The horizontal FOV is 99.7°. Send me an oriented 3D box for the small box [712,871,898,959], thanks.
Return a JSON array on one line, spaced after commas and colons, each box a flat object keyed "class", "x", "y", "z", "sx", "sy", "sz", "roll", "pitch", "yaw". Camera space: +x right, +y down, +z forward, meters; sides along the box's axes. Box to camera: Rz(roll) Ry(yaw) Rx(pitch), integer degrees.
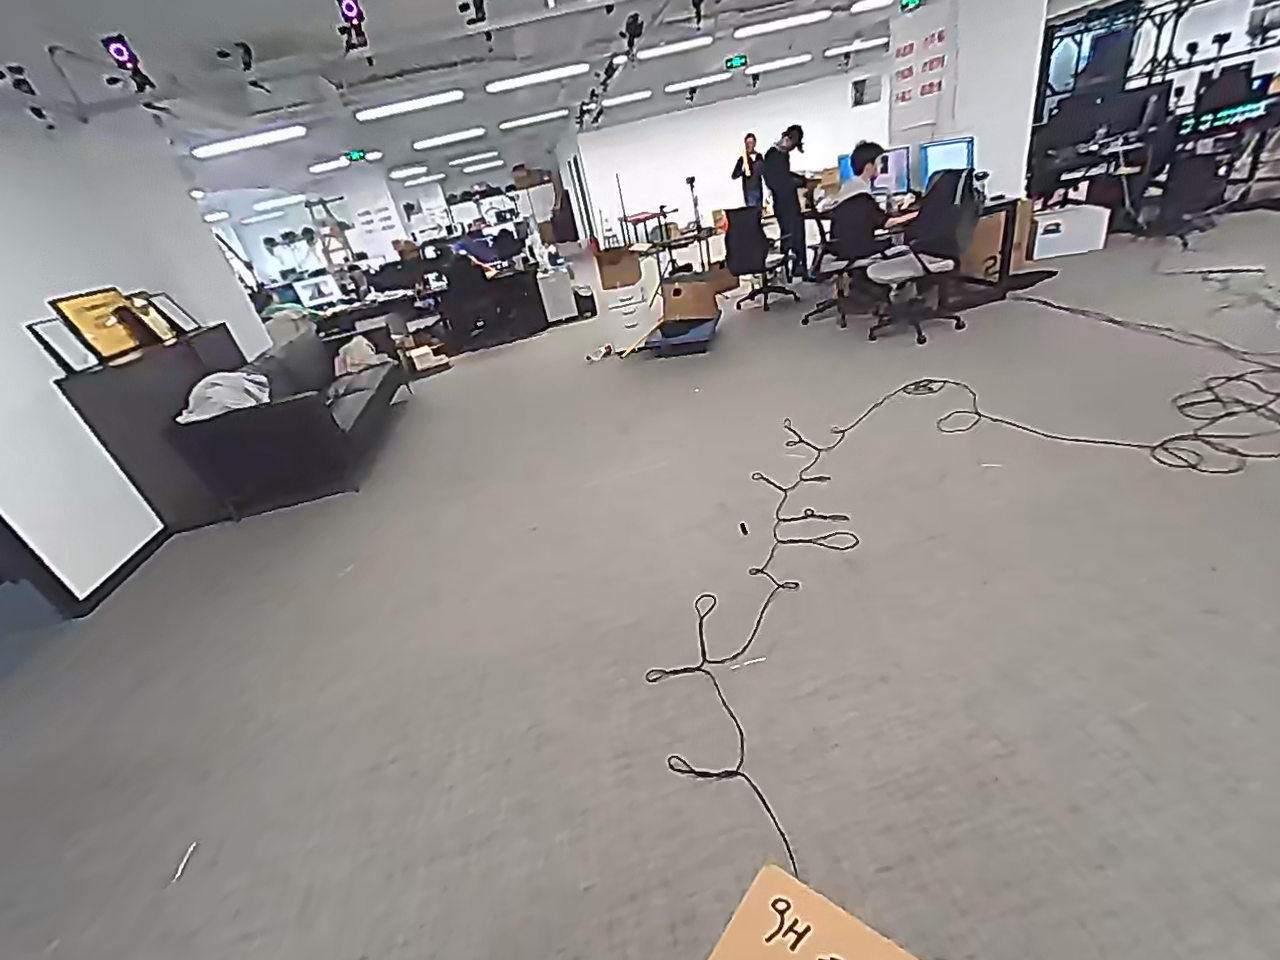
[{"class": "small box", "x": 0.107, "y": 0.372, "z": 0.277, "sx": 0.168, "sy": 0.176, "sz": 0.179, "roll": 7, "pitch": 35, "yaw": 44}]
